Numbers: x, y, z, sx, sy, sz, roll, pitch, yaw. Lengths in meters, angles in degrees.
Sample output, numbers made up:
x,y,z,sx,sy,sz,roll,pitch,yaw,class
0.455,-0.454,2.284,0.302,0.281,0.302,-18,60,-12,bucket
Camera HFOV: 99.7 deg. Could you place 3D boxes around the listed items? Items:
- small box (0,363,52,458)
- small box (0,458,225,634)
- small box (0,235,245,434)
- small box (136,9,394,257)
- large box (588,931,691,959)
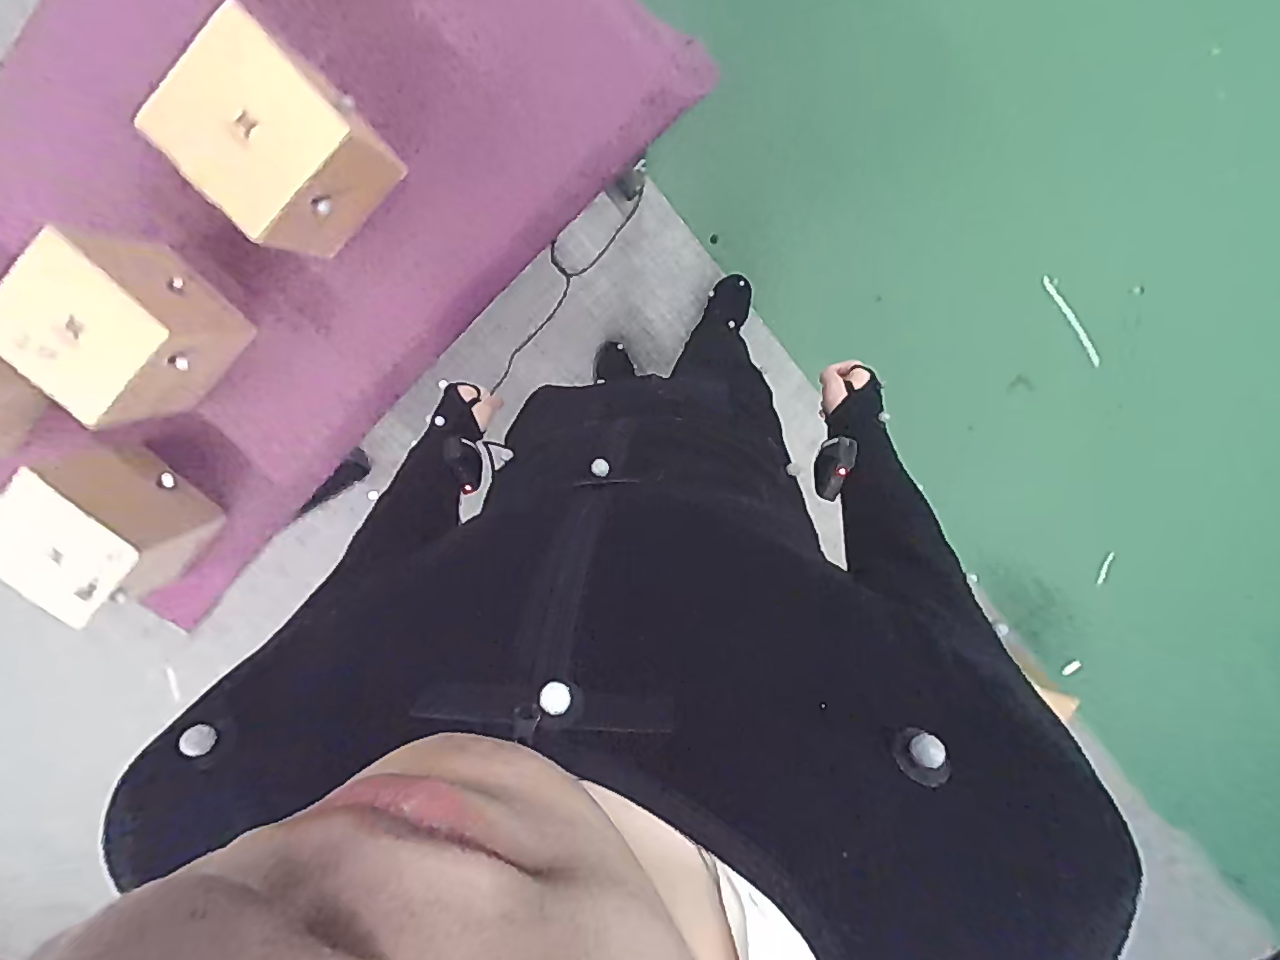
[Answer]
x,y,z,sx,sy,sz,roll,pitch,yaw,class
-0.986,-0.121,0.740,0.179,0.176,0.168,-42,103,9,small box
-0.788,0.084,0.803,0.168,0.176,0.179,-44,101,11,small box
-0.685,-0.192,0.725,0.179,0.176,0.168,-41,103,10,small box
-0.438,-0.404,0.671,0.179,0.176,0.168,-41,104,11,small box
0.019,2.044,2.092,0.408,0.320,0.320,-11,107,1,large box
